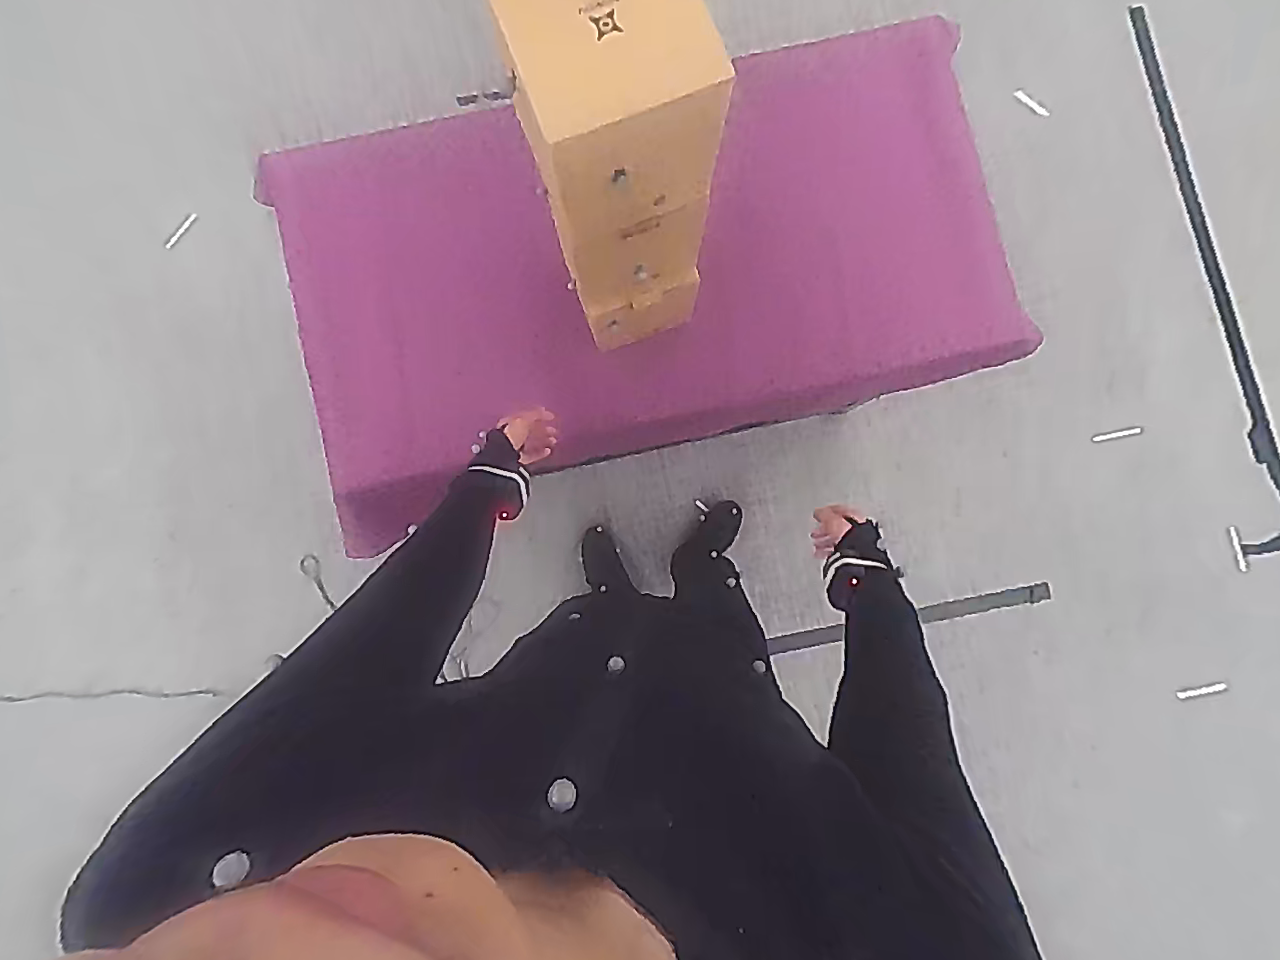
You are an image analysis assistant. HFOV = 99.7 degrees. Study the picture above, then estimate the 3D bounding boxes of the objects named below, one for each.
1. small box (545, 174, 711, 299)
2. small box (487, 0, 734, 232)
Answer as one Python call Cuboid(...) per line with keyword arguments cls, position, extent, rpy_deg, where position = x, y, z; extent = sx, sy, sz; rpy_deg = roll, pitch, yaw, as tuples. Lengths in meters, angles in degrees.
Cuboid(cls="small box", position=(-0.024, -0.360, 0.680), extent=(0.168, 0.176, 0.179), rpy_deg=(-19, 86, -1))
Cuboid(cls="small box", position=(-0.026, -0.368, 0.518), extent=(0.168, 0.176, 0.179), rpy_deg=(-22, 85, -1))
